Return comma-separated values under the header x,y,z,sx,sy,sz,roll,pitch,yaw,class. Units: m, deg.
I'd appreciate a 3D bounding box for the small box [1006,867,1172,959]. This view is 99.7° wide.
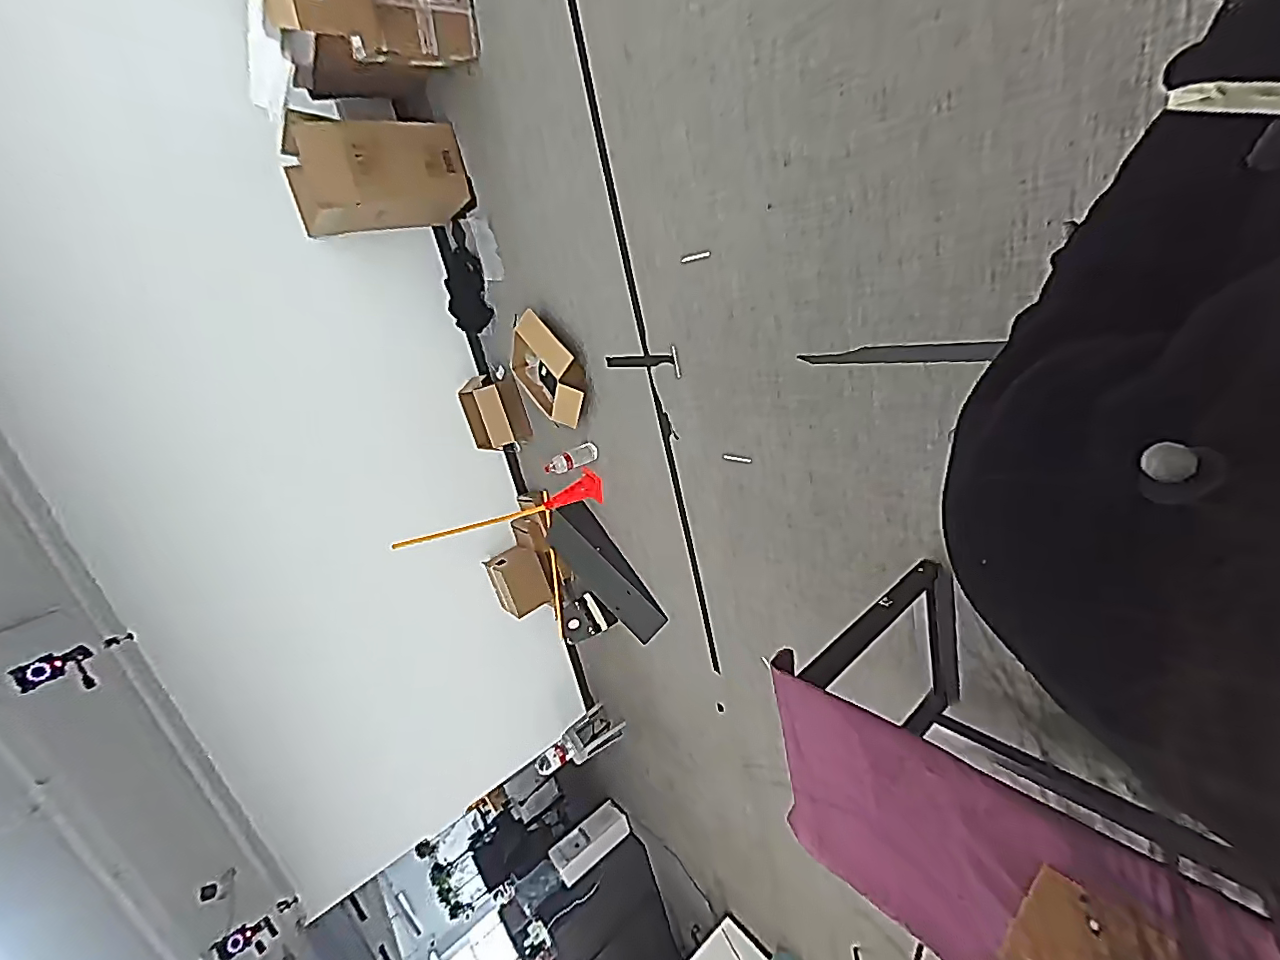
x,y,z,sx,sy,sz,roll,pitch,yaw,class
0.704,0.781,0.857,0.168,0.176,0.179,16,125,50,small box
